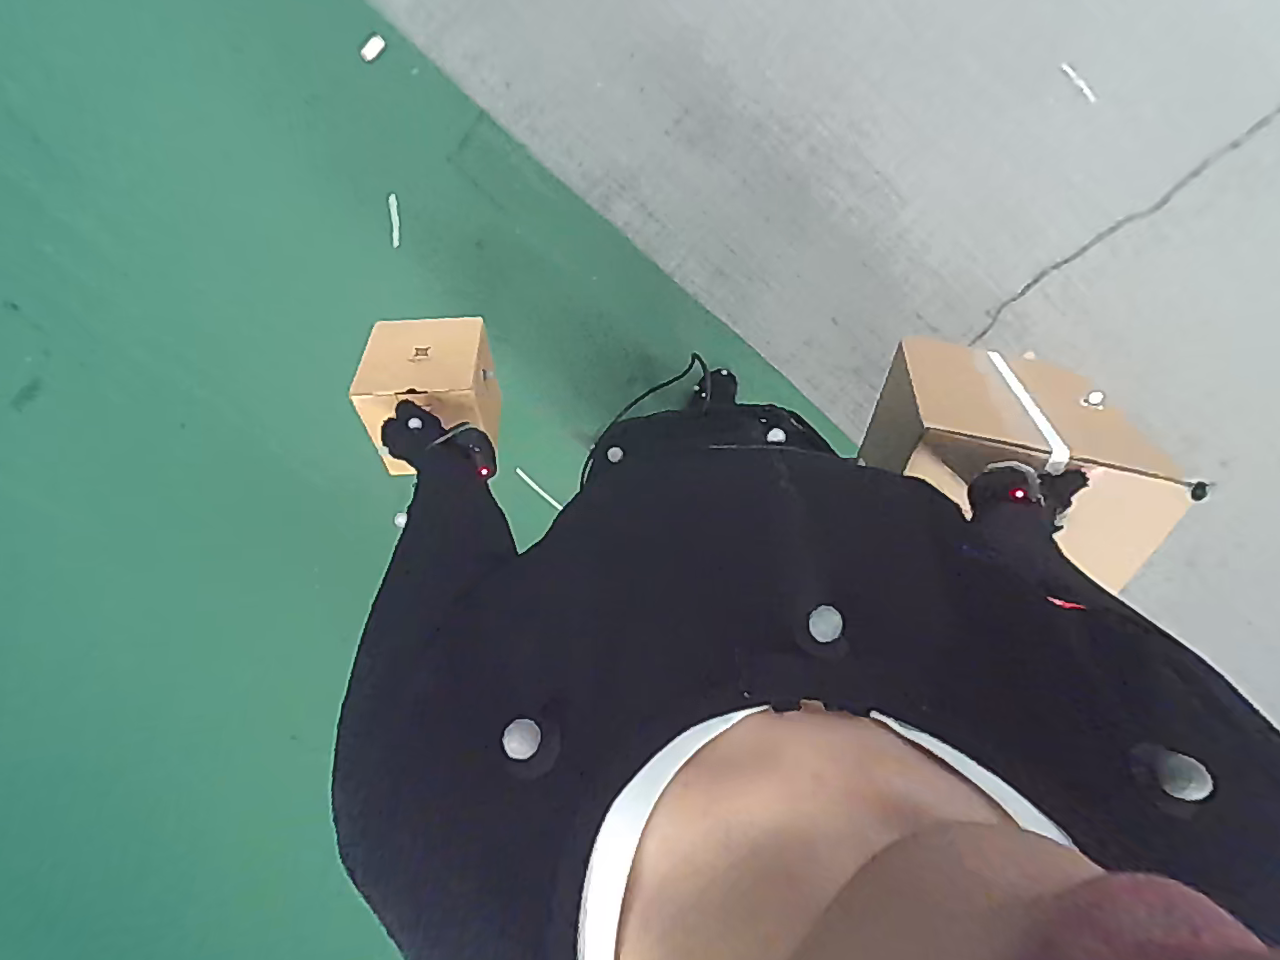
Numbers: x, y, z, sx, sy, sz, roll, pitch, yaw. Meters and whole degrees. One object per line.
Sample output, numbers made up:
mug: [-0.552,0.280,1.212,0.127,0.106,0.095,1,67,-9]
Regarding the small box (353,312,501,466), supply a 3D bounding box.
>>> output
small box: [-0.320,-0.143,0.856,0.168,0.179,0.176,-4,142,-4]
